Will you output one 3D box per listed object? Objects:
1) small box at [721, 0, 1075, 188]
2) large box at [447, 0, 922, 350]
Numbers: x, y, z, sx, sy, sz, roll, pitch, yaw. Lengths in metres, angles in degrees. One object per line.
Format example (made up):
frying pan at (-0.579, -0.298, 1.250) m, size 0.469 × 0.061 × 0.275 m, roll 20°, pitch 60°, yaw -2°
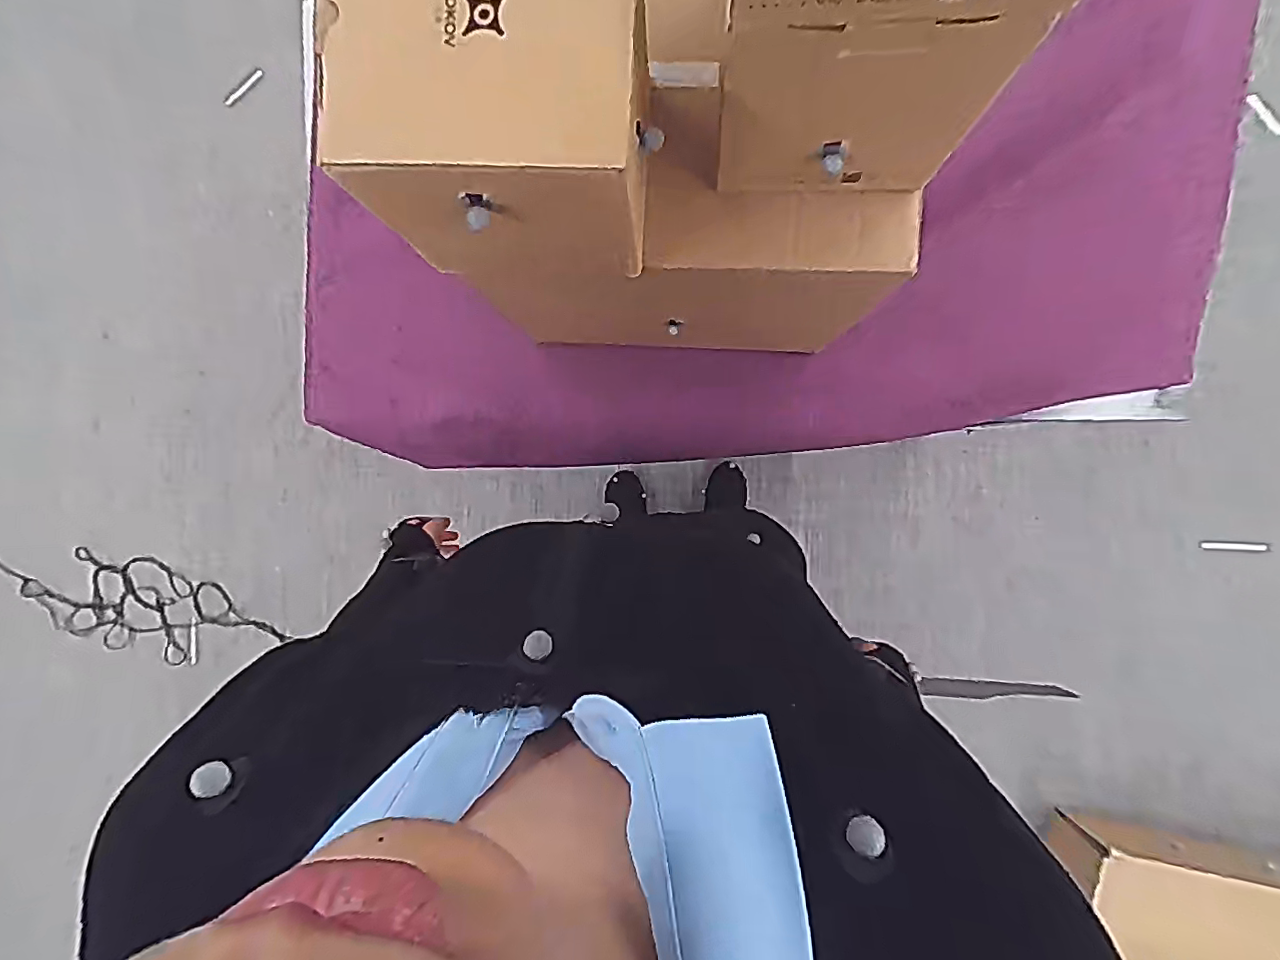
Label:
small box at (0.141, -0.319, 0.346) m, size 0.168 × 0.176 × 0.179 m, roll 2°, pitch 91°, yaw 6°
large box at (0.047, -0.329, 0.600) m, size 0.408 × 0.320 × 0.320 m, roll 2°, pitch 90°, yaw 5°
